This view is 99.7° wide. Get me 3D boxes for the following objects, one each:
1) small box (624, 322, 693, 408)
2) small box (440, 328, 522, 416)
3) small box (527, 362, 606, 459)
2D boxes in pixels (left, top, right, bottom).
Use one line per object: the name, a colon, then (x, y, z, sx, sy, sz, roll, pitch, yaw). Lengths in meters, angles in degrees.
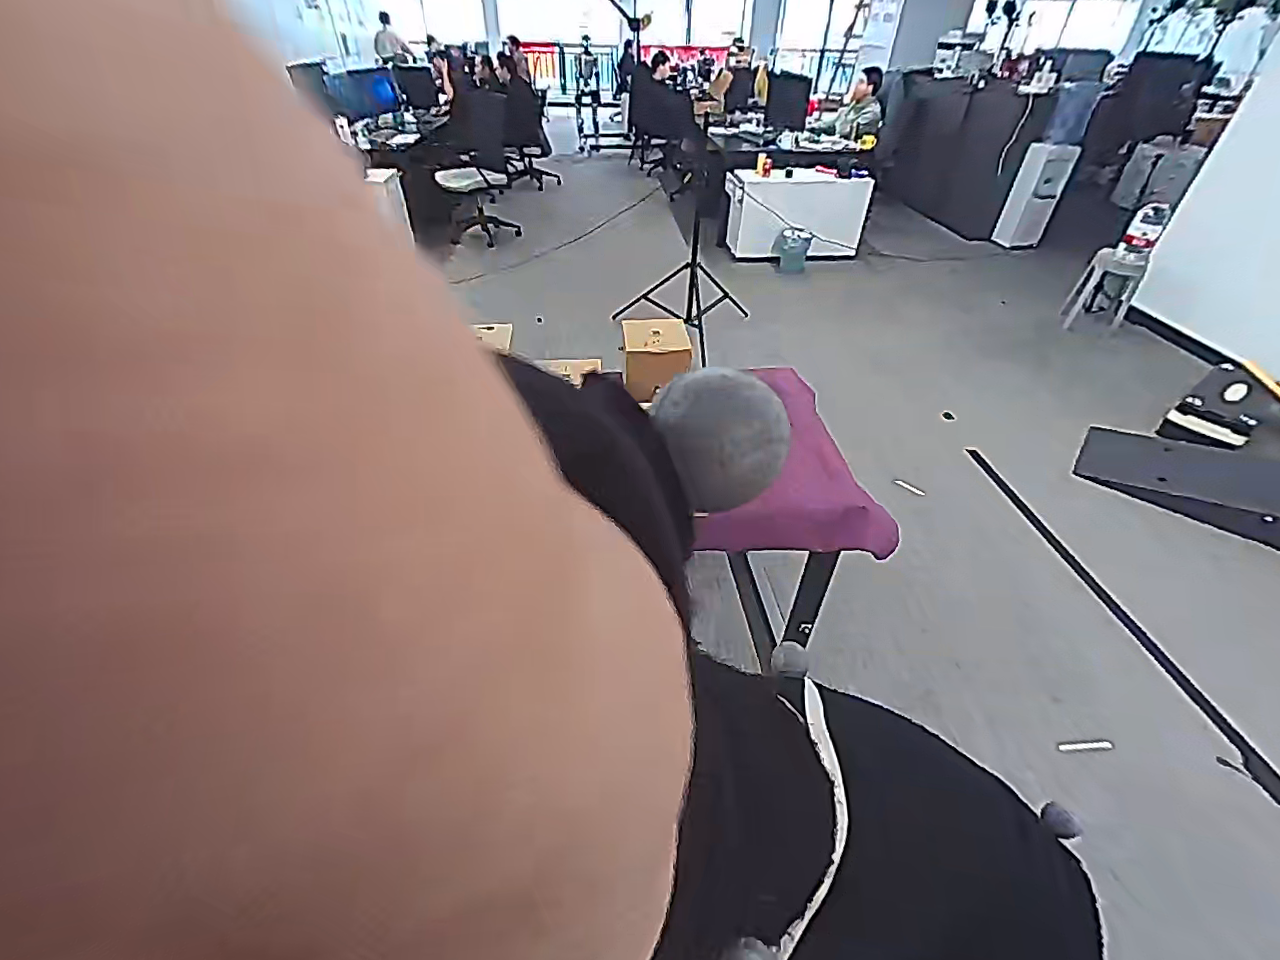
small box: (0.043, -0.306, 1.446, 0.168, 0.176, 0.179, -3, 42, -4)
small box: (-0.403, -0.276, 1.402, 0.168, 0.176, 0.179, -3, 43, -5)
small box: (-0.166, -0.161, 1.274, 0.168, 0.176, 0.179, -2, 40, -4)
